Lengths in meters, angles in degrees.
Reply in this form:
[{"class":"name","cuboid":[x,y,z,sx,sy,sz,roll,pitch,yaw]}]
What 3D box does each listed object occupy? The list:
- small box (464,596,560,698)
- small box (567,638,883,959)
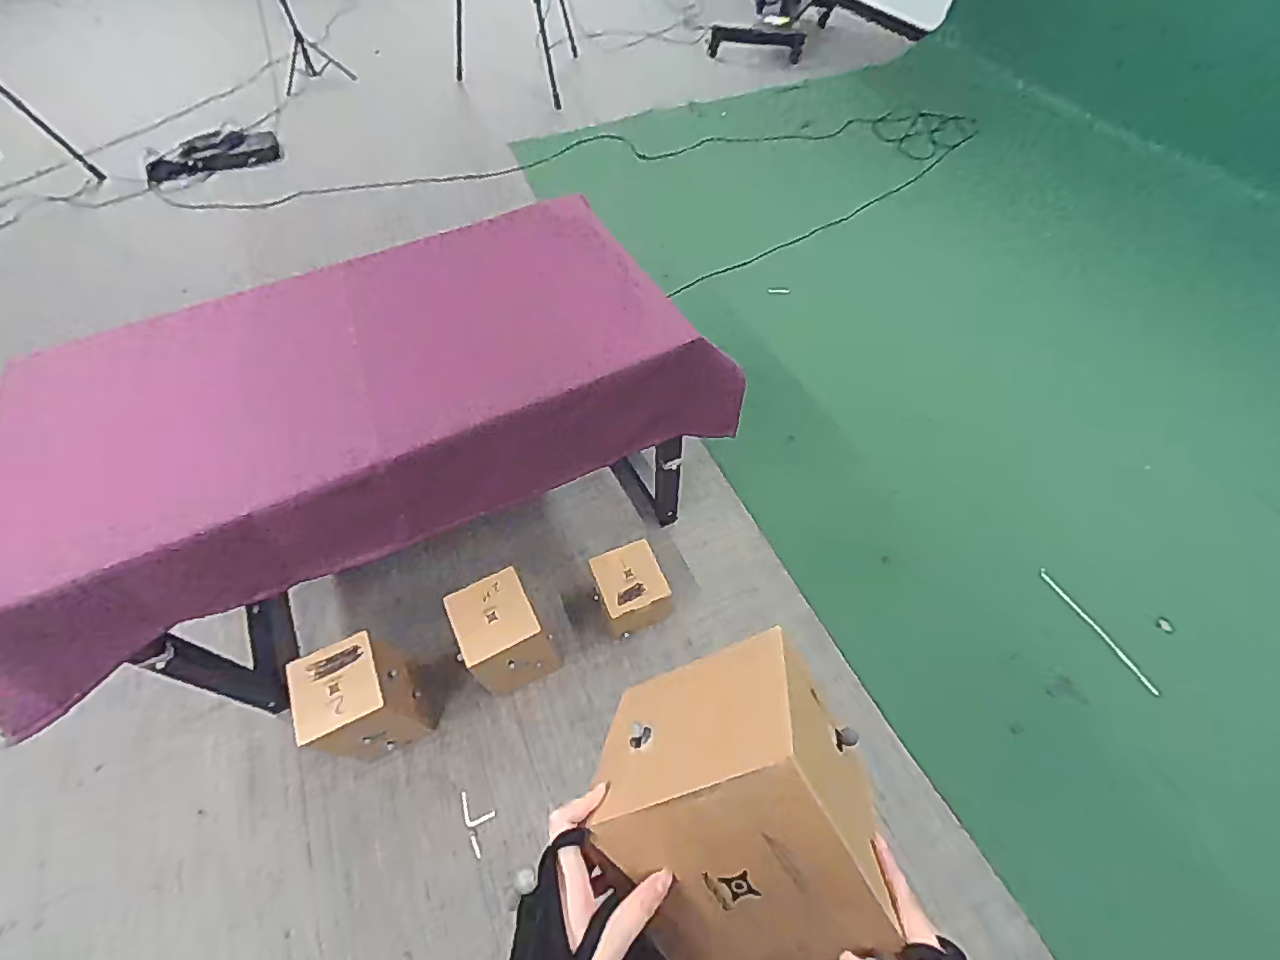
[{"class":"small box","cuboid":[-0.322,0.432,1.380,0.179,0.176,0.168,-23,58,-14]},{"class":"small box","cuboid":[0.073,0.269,0.460,0.179,0.176,0.168,-29,97,17]}]
